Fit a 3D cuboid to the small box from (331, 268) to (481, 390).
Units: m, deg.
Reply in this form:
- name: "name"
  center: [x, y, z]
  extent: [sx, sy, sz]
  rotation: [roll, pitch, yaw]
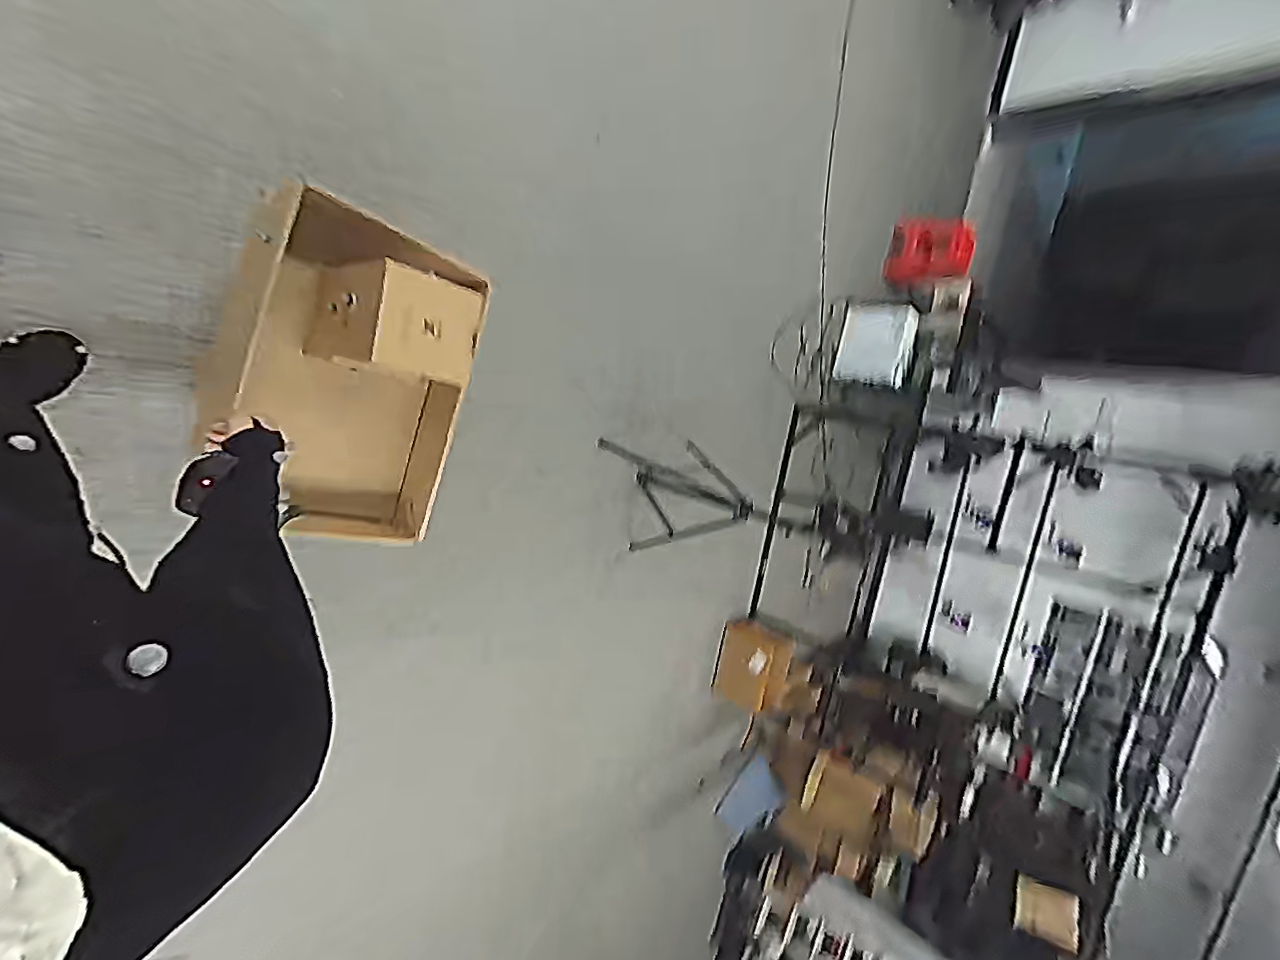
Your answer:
- name: "small box"
  center: [-0.420, -0.268, 0.970]
  extent: [0.179, 0.176, 0.168]
  rotation: [7, 97, -50]

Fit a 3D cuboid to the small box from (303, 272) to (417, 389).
- name: "small box"
  center: [-0.543, -0.295, 1.075]
  extent: [0.168, 0.176, 0.179]
  rotation: [11, 96, -49]
